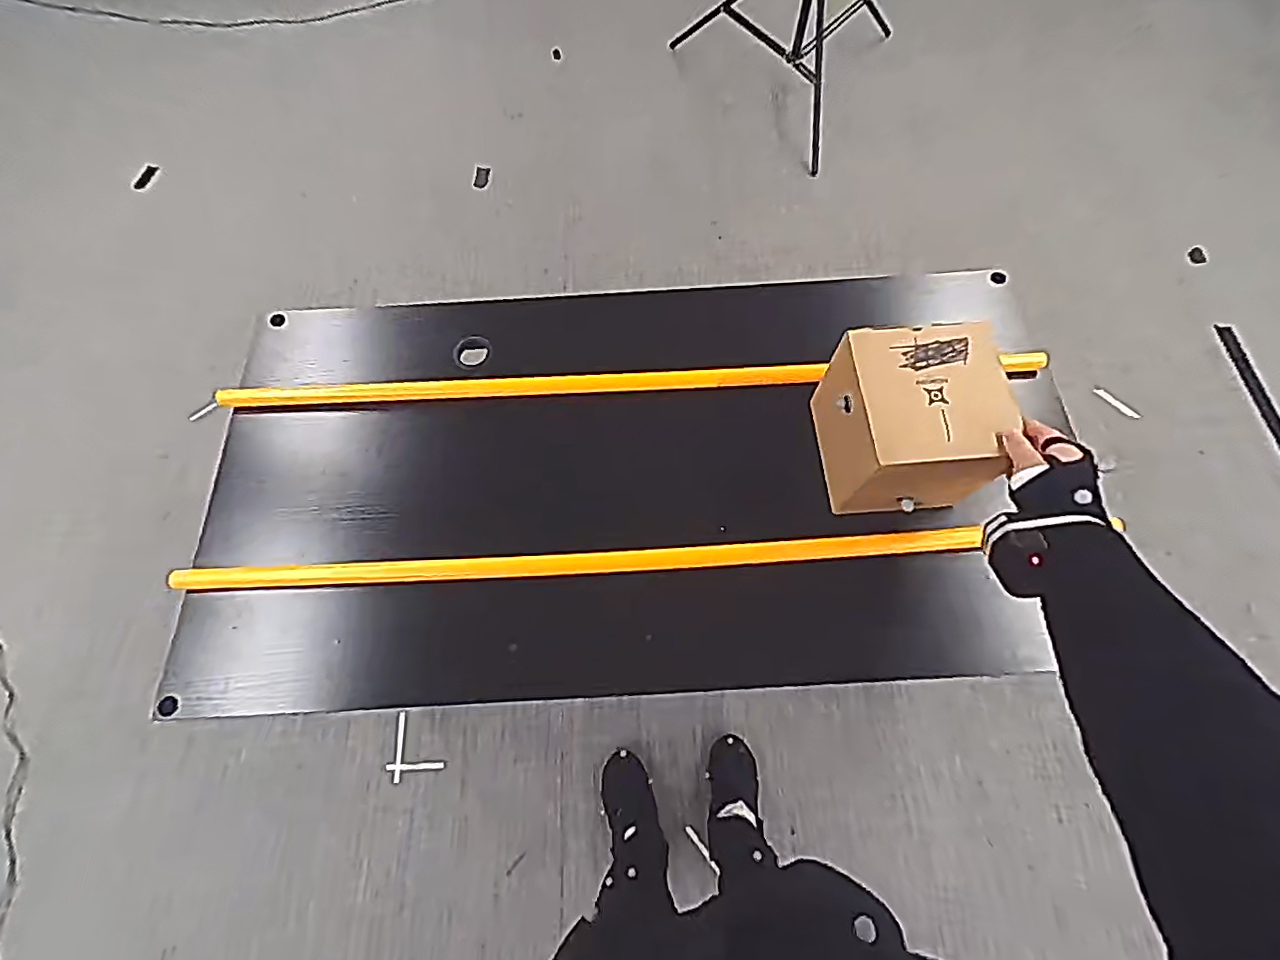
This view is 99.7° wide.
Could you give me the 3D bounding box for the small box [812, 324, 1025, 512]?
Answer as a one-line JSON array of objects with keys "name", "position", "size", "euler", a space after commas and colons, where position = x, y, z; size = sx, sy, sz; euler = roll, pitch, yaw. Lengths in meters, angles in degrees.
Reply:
[{"name": "small box", "position": [0.330, -0.072, 0.684], "size": [0.168, 0.176, 0.179], "euler": [-4, 68, 1]}]
